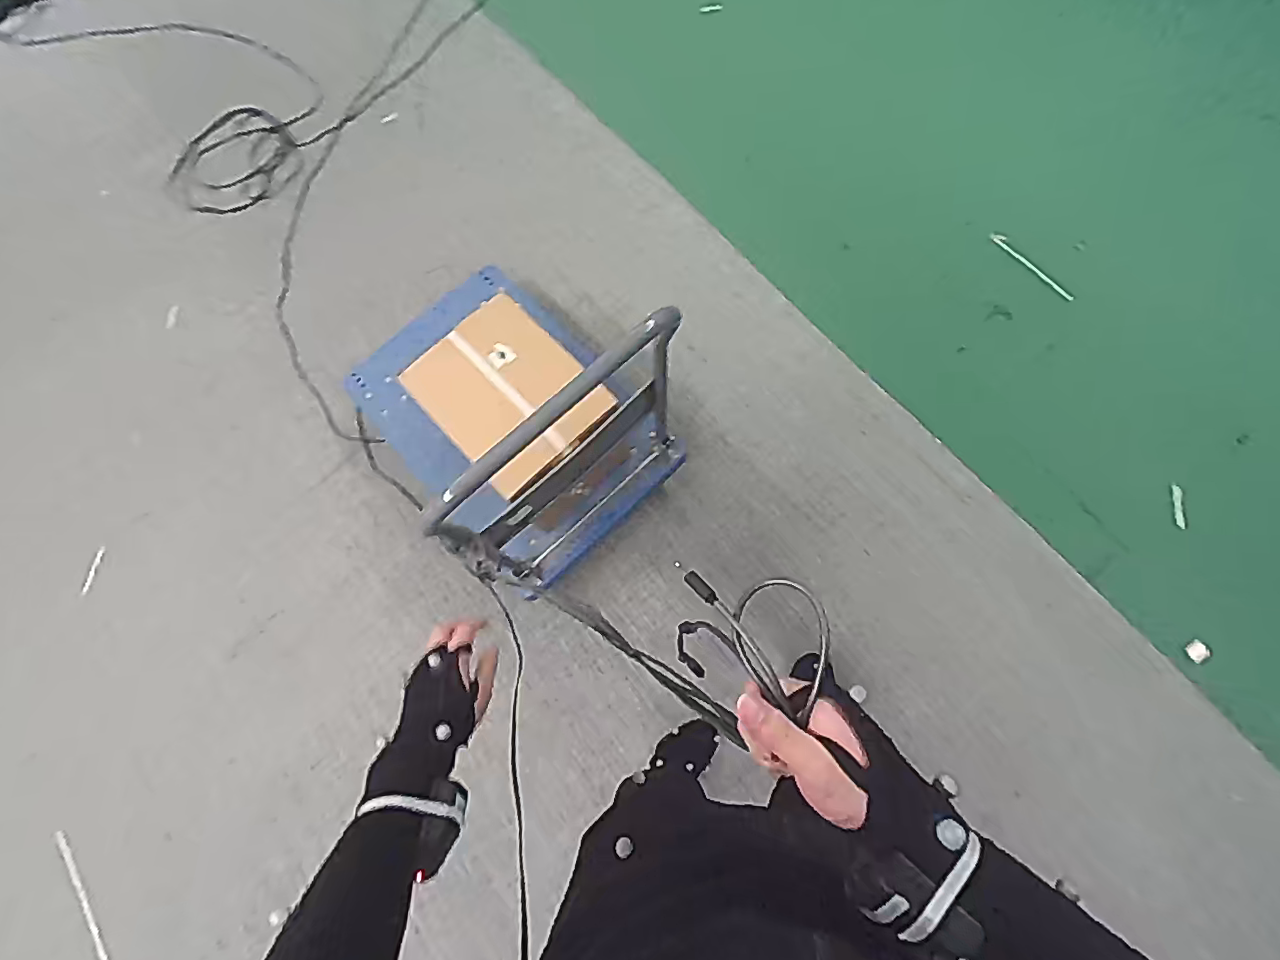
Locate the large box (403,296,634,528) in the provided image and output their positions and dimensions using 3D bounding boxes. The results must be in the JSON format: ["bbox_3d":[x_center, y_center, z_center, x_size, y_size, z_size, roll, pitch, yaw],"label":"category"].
[{"bbox_3d":[-0.271,-0.149,1.312,0.320,0.320,0.408,-43,73,-9],"label":"large box"}]
